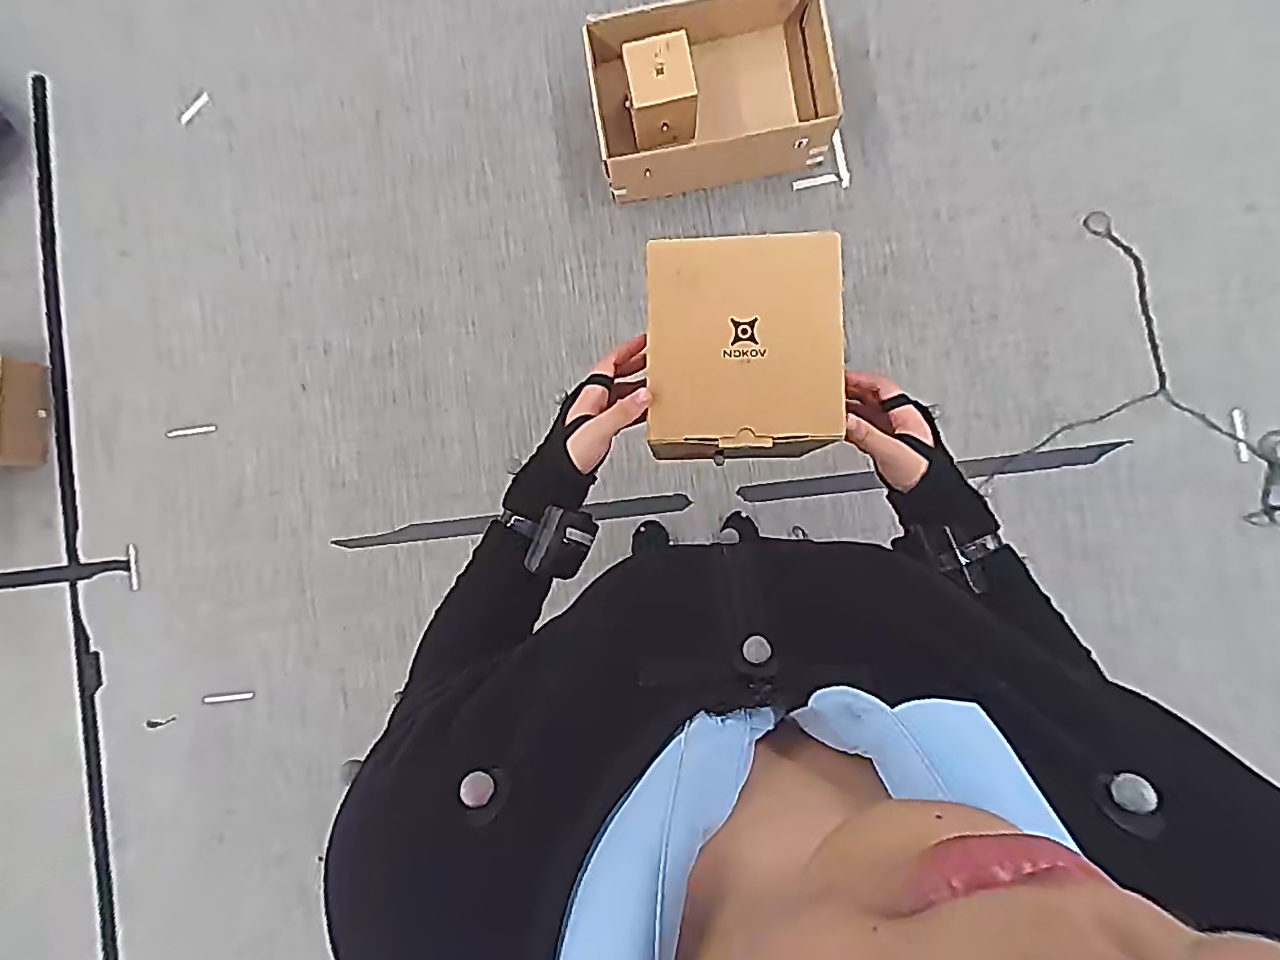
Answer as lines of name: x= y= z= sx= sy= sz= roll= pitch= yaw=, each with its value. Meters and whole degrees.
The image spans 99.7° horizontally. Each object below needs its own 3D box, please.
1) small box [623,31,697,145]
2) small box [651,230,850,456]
small box: x=0.056 y=-1.028 z=1.439 sx=0.168 sy=0.176 sz=0.179 roll=-10 pitch=87 yaw=3
small box: x=0.095 y=-0.118 z=0.530 sx=0.168 sy=0.176 sz=0.179 roll=-1 pitch=88 yaw=4
